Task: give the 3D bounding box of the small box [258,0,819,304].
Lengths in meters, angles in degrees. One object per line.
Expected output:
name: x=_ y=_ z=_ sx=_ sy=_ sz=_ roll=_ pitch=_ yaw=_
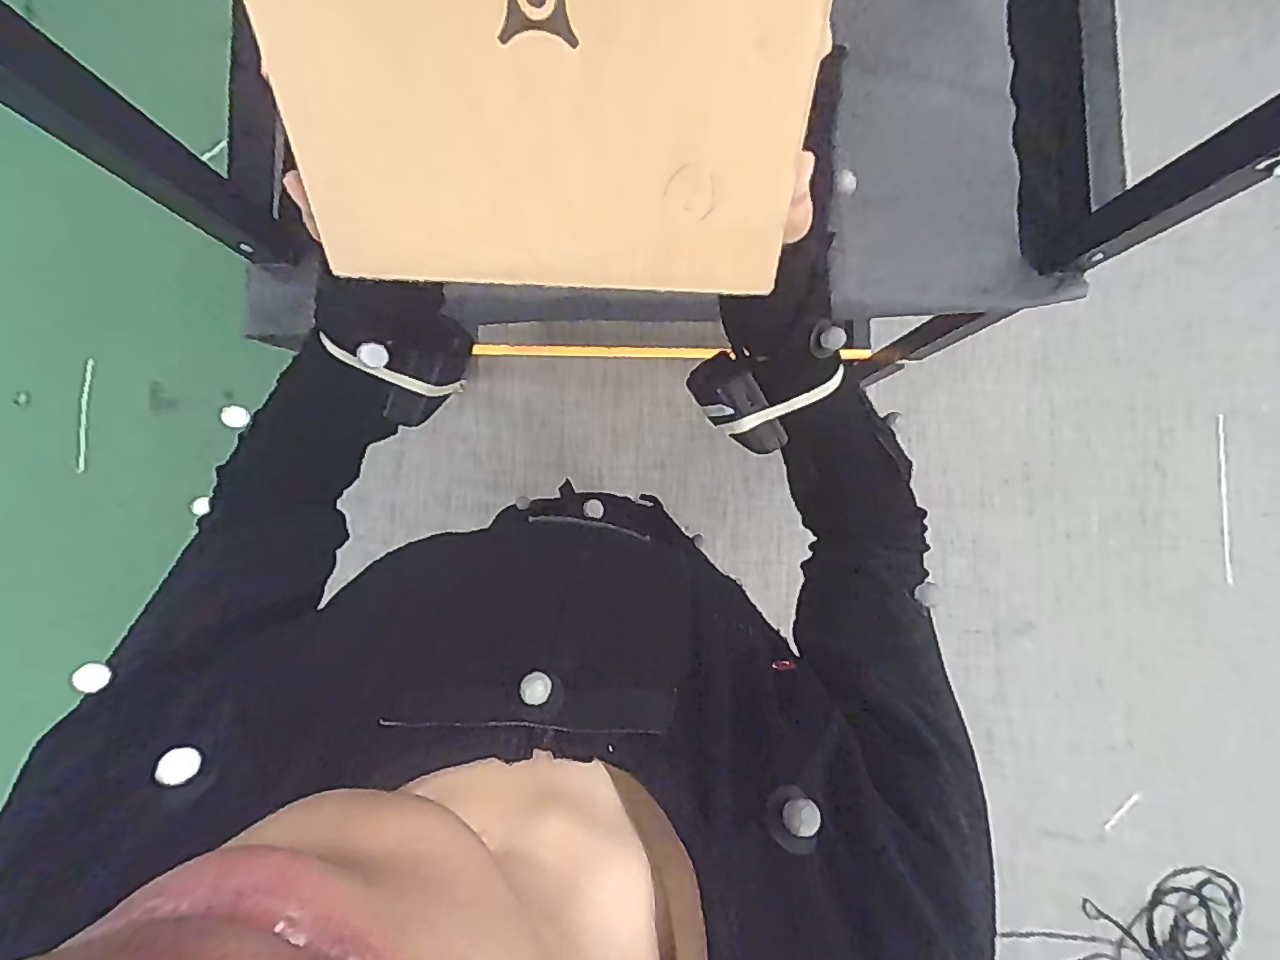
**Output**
small box: x=-0.028 y=-0.191 z=0.217 sx=0.168 sy=0.176 sz=0.179 roll=2 pitch=130 yaw=-2
